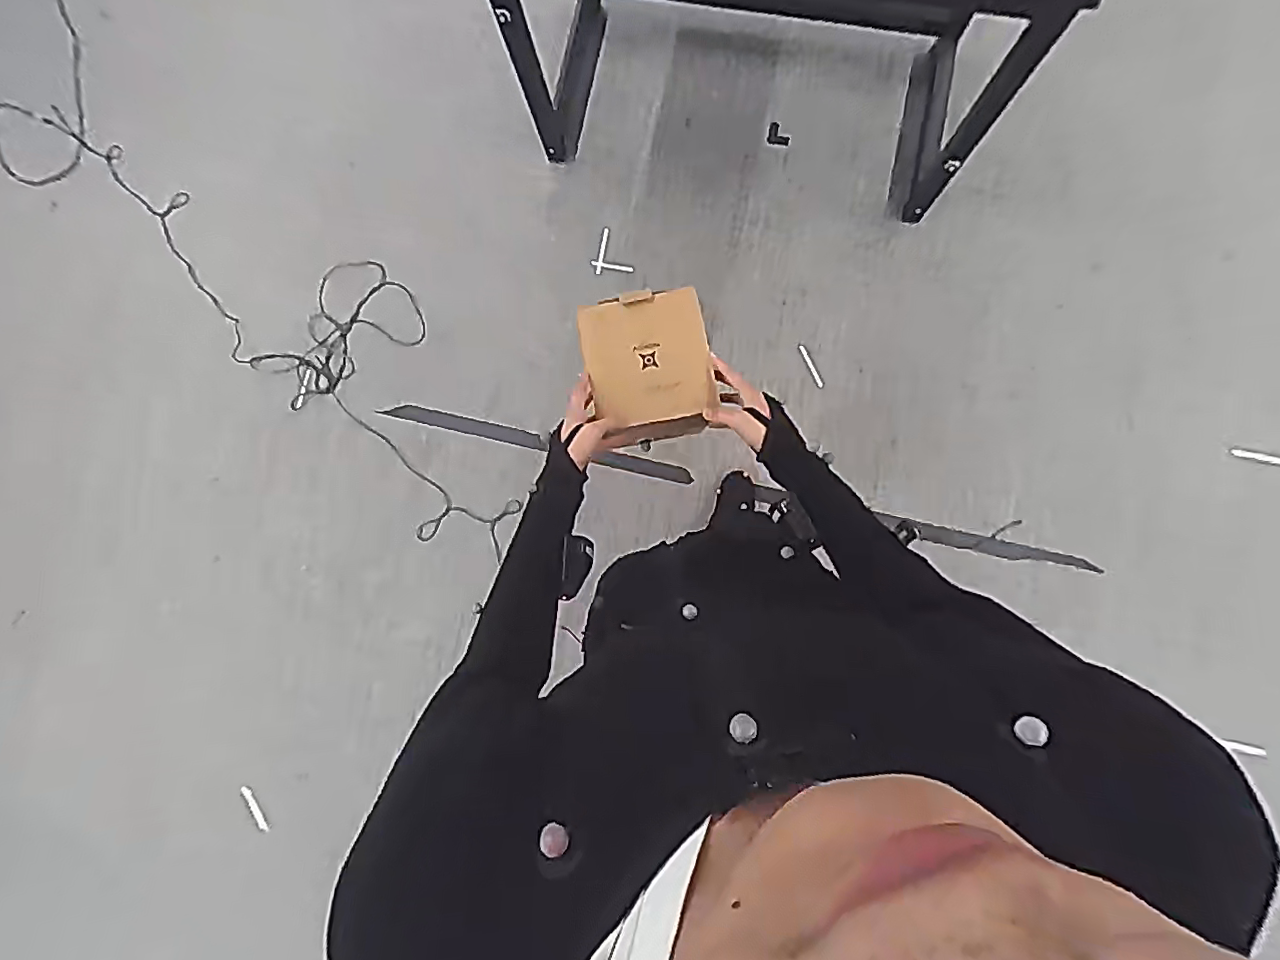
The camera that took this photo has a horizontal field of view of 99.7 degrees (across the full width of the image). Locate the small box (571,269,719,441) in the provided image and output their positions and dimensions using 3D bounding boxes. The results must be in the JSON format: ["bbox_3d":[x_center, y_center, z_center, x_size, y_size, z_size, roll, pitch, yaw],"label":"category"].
[{"bbox_3d":[0.001,-0.168,0.772,0.168,0.176,0.179,-12,84,-4],"label":"small box"}]
